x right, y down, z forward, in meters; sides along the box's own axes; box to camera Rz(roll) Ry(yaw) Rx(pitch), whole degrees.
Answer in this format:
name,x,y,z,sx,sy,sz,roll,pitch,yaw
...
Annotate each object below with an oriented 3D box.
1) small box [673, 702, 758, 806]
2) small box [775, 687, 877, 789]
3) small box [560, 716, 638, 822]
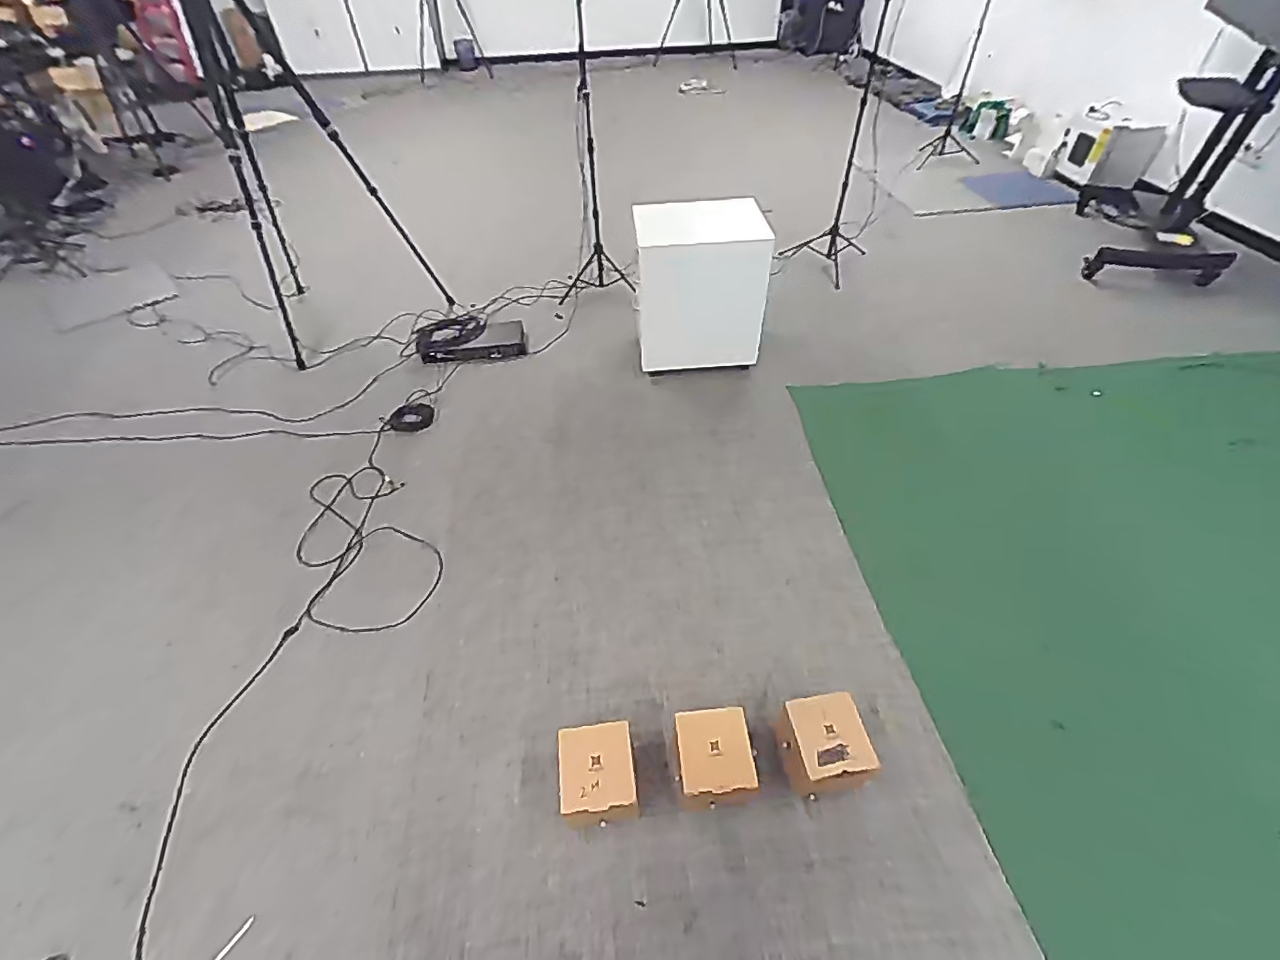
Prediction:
name,x,y,z,sx,sy,sz,roll,pitch,yaw
small box,0.170,0.654,1.288,0.168,0.176,0.179,-5,48,-3
small box,0.437,0.626,1.303,0.168,0.176,0.179,-7,47,-4
small box,-0.096,0.680,1.270,0.168,0.176,0.179,-7,48,-3
